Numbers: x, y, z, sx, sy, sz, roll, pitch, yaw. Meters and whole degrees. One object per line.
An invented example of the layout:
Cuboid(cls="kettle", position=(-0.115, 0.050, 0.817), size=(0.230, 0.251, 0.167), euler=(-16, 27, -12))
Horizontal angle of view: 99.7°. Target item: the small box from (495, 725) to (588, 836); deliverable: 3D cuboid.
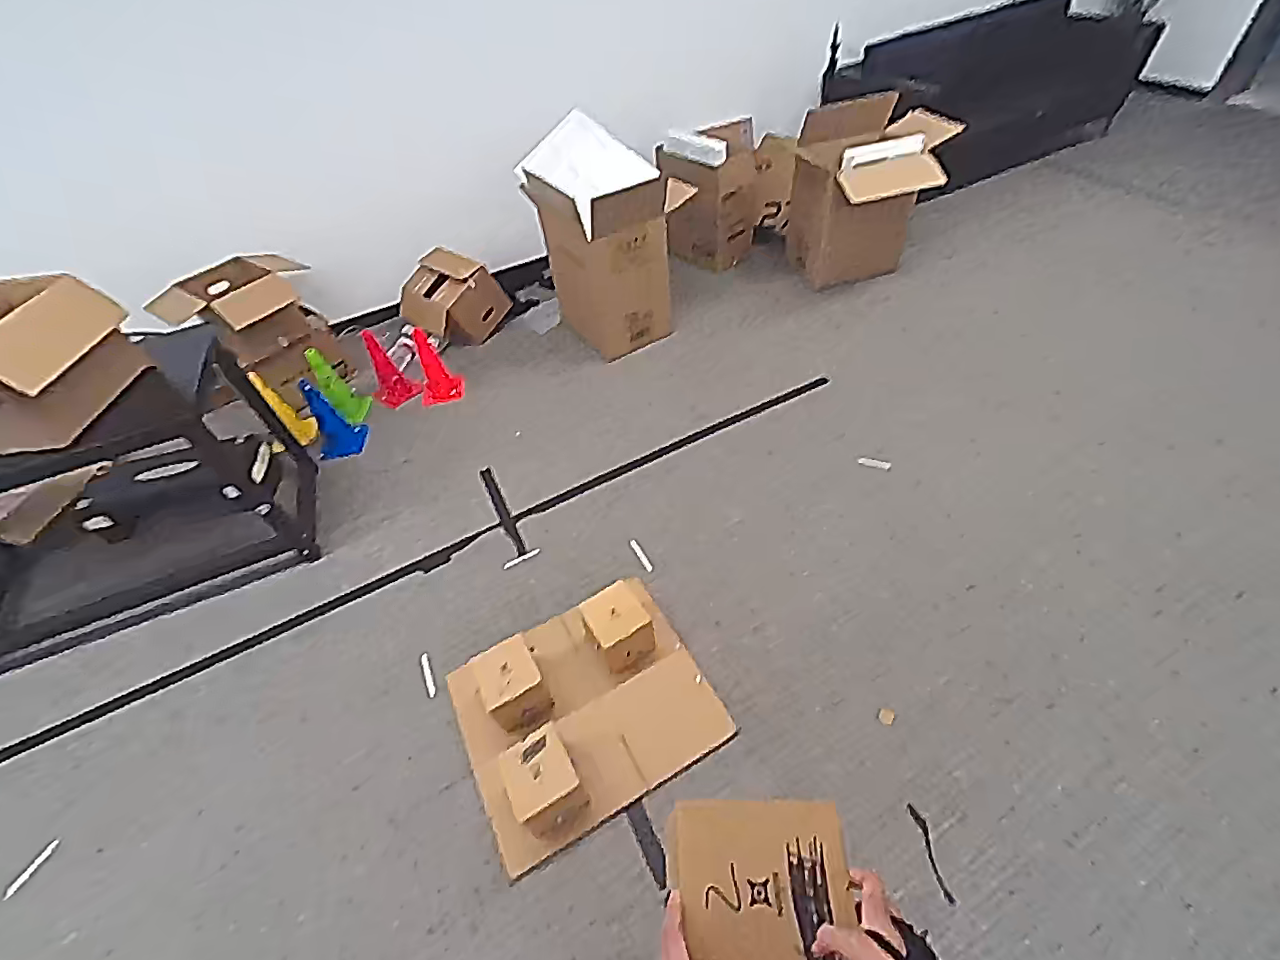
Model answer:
Cuboid(cls="small box", position=(-0.251, 0.782, 1.401), size=(0.168, 0.176, 0.179), euler=(-27, 51, -16))

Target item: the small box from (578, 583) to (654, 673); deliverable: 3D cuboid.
Cuboid(cls="small box", position=(-0.073, 0.464, 1.680), size=(0.168, 0.176, 0.179), euler=(-28, 50, -18))

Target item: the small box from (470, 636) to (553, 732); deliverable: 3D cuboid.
Cuboid(cls="small box", position=(-0.373, 0.600, 1.584), size=(0.168, 0.176, 0.179), euler=(-26, 50, -16))
